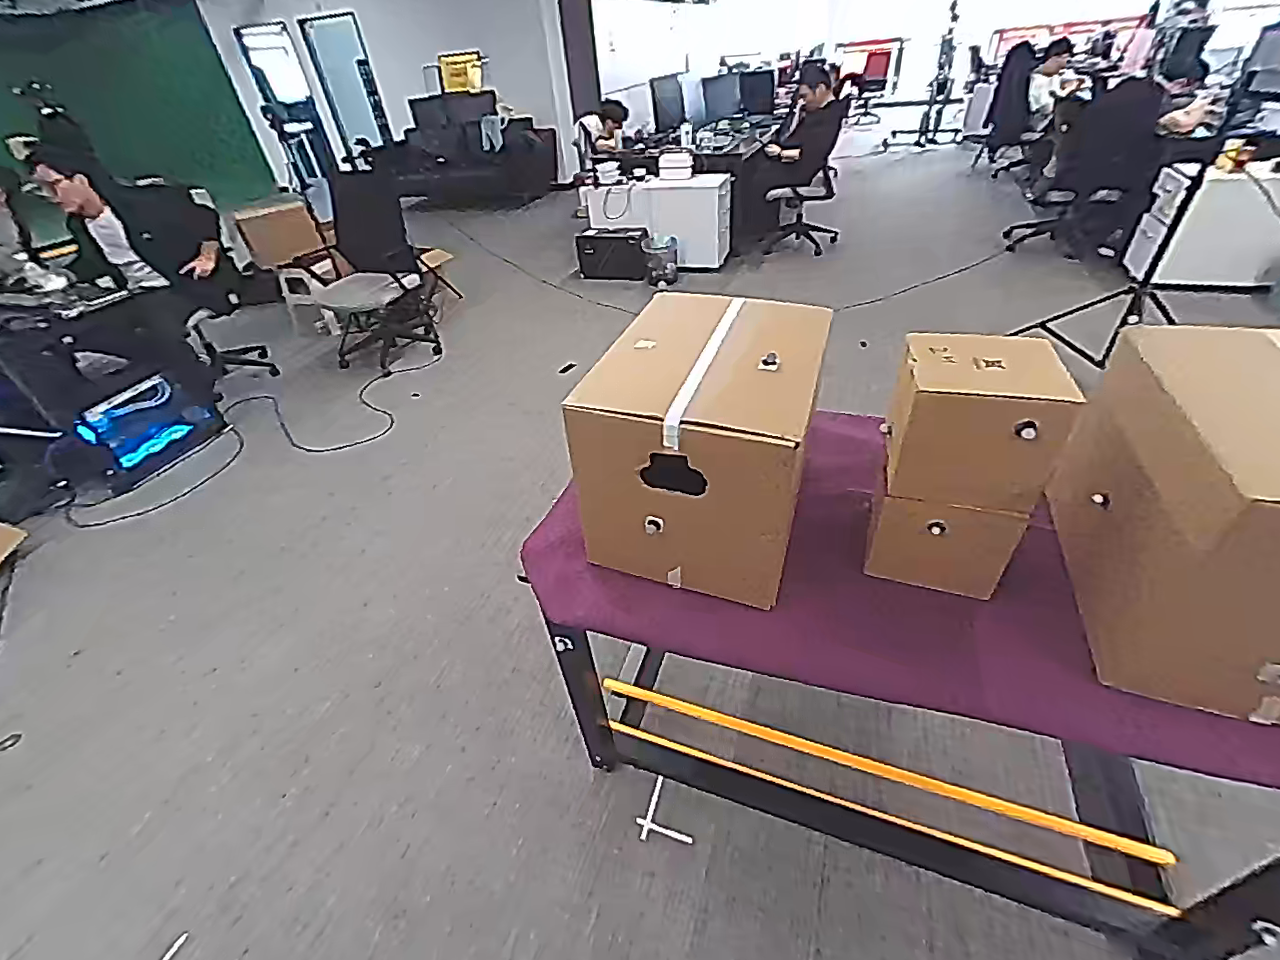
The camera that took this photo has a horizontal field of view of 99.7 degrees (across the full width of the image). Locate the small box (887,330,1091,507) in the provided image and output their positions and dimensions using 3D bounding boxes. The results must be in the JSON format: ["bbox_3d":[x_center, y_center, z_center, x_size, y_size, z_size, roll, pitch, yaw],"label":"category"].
[{"bbox_3d":[0.441,-0.083,0.719,0.179,0.176,0.168,7,39,17],"label":"small box"}]

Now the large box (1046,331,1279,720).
[{"bbox_3d":[0.772,0.045,0.670,0.320,0.320,0.408,10,40,18],"label":"large box"}]
